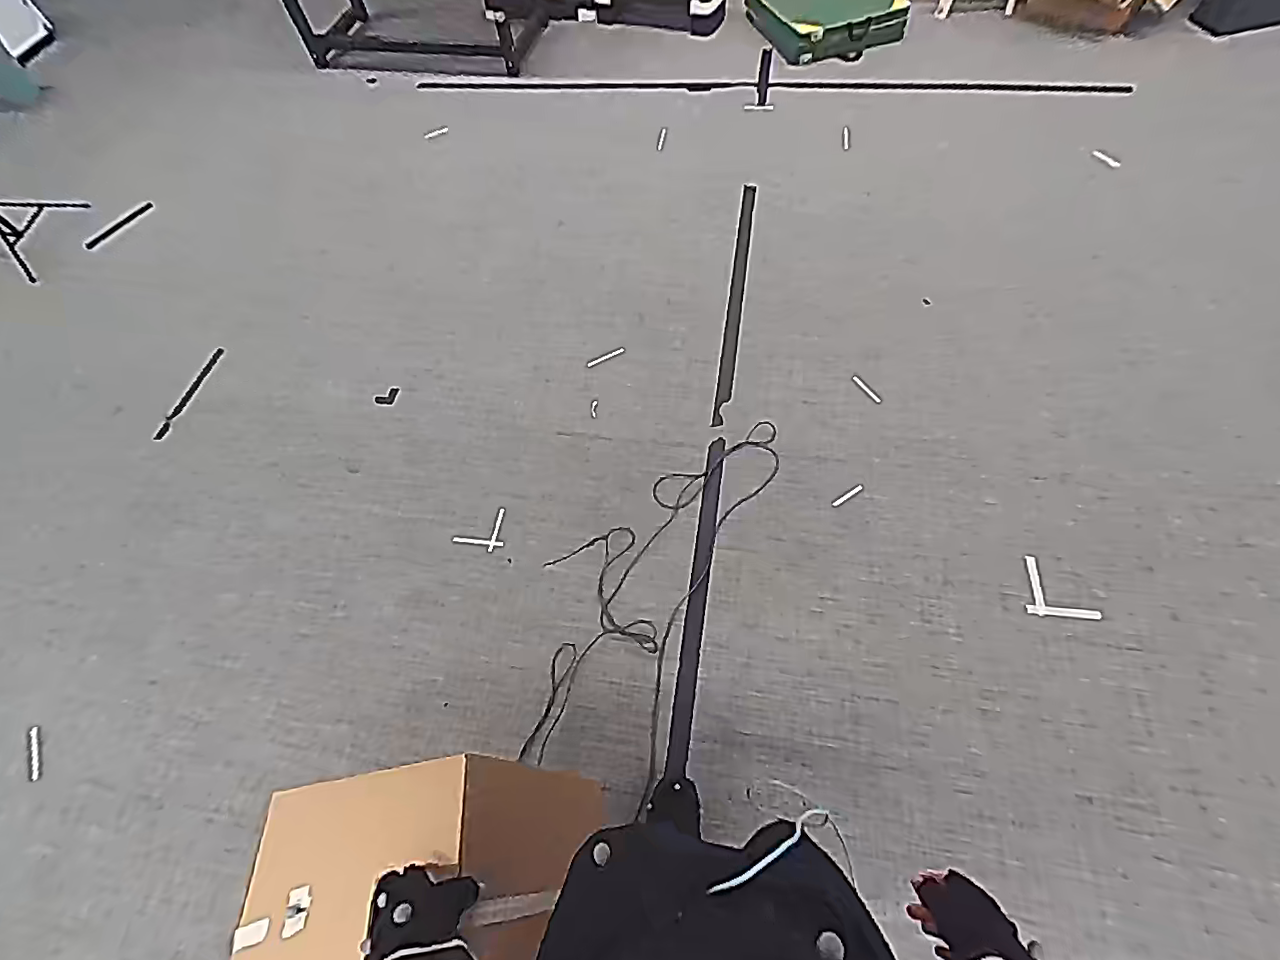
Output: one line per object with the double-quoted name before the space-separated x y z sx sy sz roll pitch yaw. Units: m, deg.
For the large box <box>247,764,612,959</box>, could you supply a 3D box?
"large box" -0.268 0.618 0.768 0.320 0.408 0.320 -17 53 14
